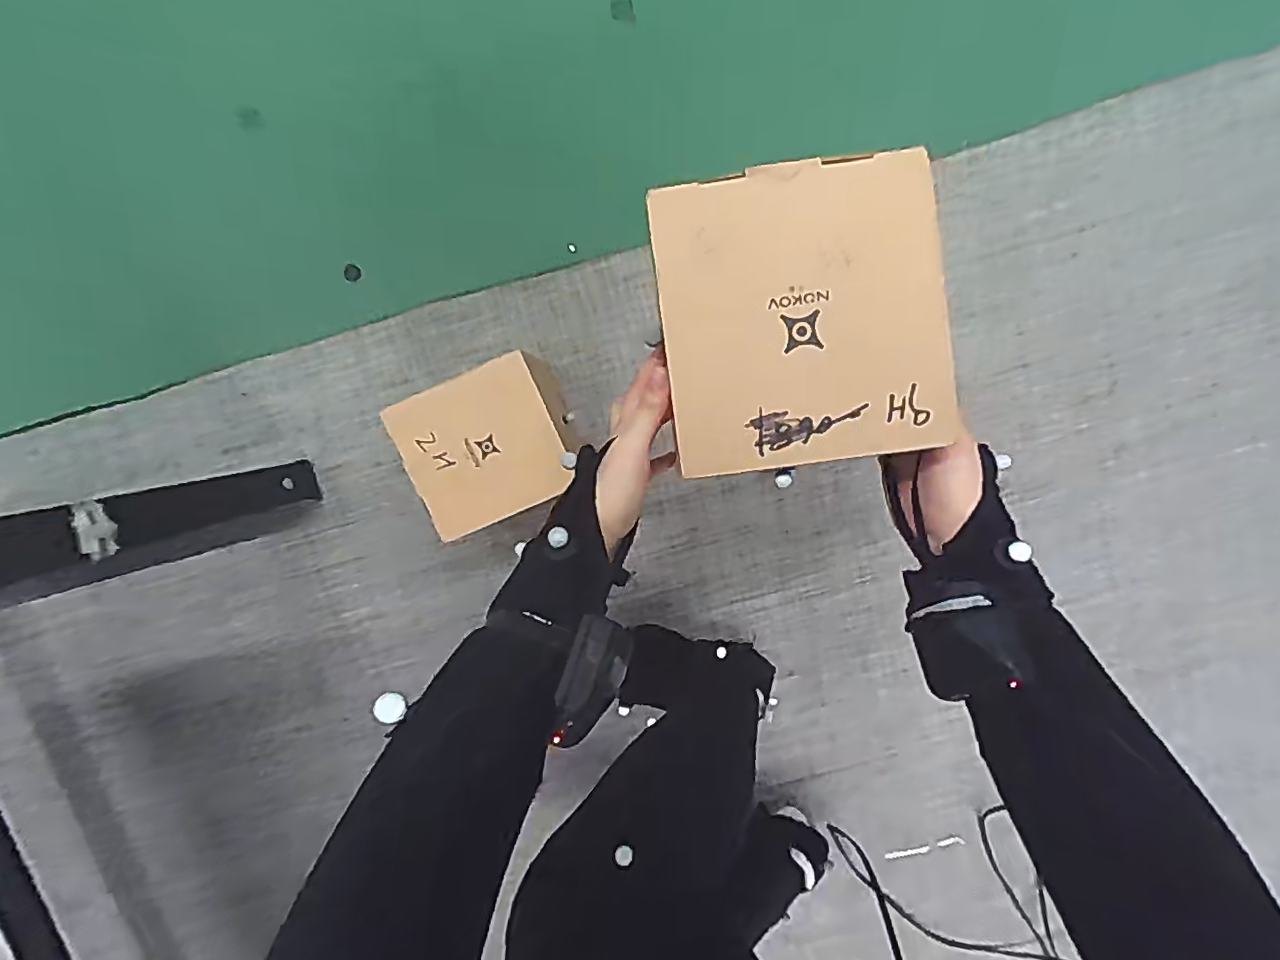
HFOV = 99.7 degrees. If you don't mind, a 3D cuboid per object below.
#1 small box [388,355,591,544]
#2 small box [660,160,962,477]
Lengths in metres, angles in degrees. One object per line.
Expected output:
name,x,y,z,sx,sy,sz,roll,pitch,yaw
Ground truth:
small box,-0.170,-0.044,0.679,0.179,0.176,0.168,-23,97,3
small box,0.104,-0.097,0.404,0.168,0.176,0.179,-7,91,3
